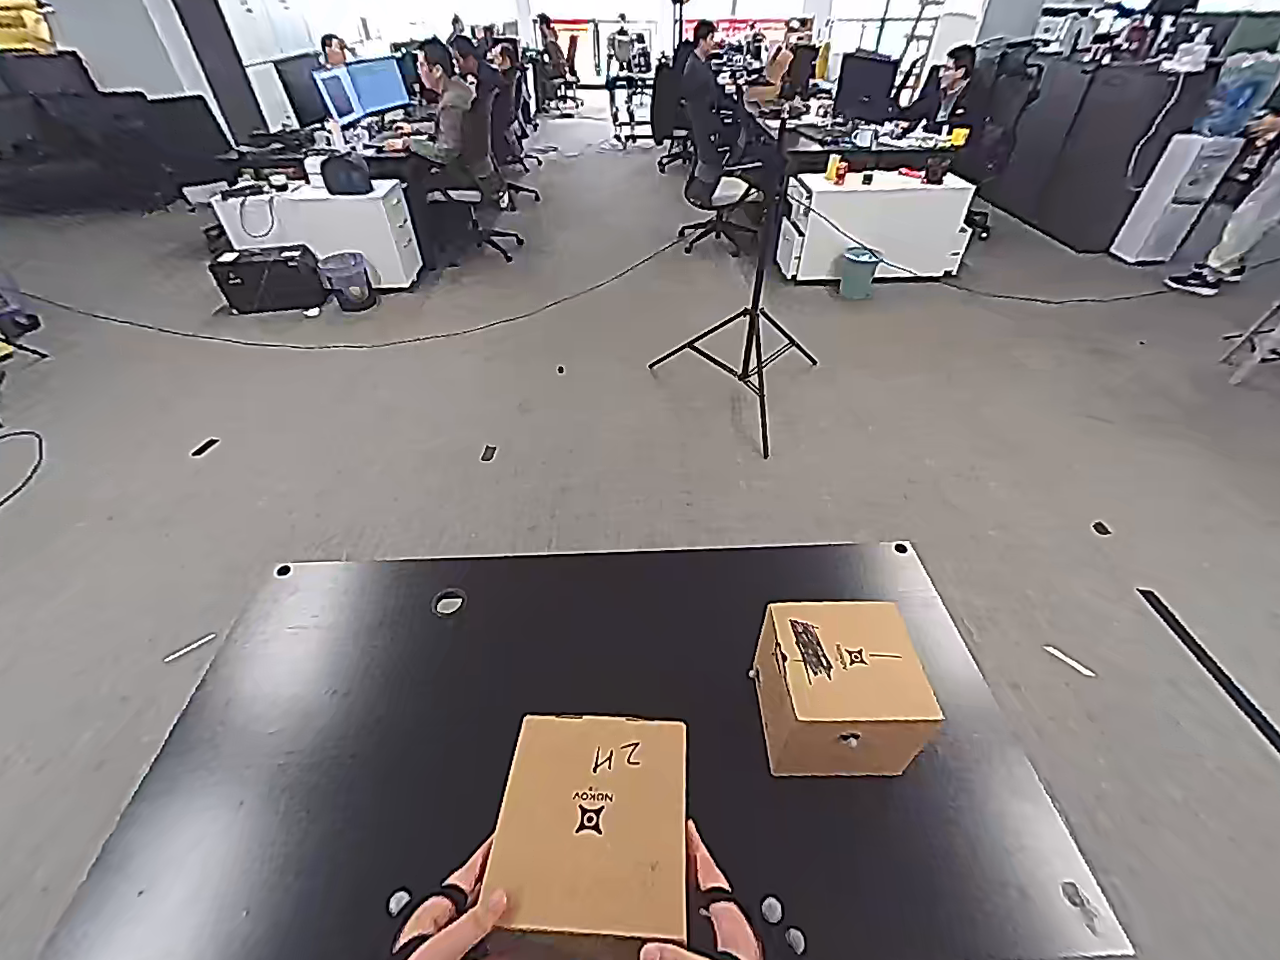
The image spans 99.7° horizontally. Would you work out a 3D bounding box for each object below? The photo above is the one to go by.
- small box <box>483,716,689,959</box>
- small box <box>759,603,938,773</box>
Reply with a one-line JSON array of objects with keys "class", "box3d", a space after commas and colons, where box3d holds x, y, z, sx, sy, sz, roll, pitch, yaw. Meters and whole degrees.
[{"class": "small box", "box3d": [-0.036, 0.364, 0.533, 0.168, 0.176, 0.179, 2, 33, 4]}, {"class": "small box", "box3d": [0.266, 0.288, 0.746, 0.179, 0.176, 0.168, 0, 42, 0]}]
